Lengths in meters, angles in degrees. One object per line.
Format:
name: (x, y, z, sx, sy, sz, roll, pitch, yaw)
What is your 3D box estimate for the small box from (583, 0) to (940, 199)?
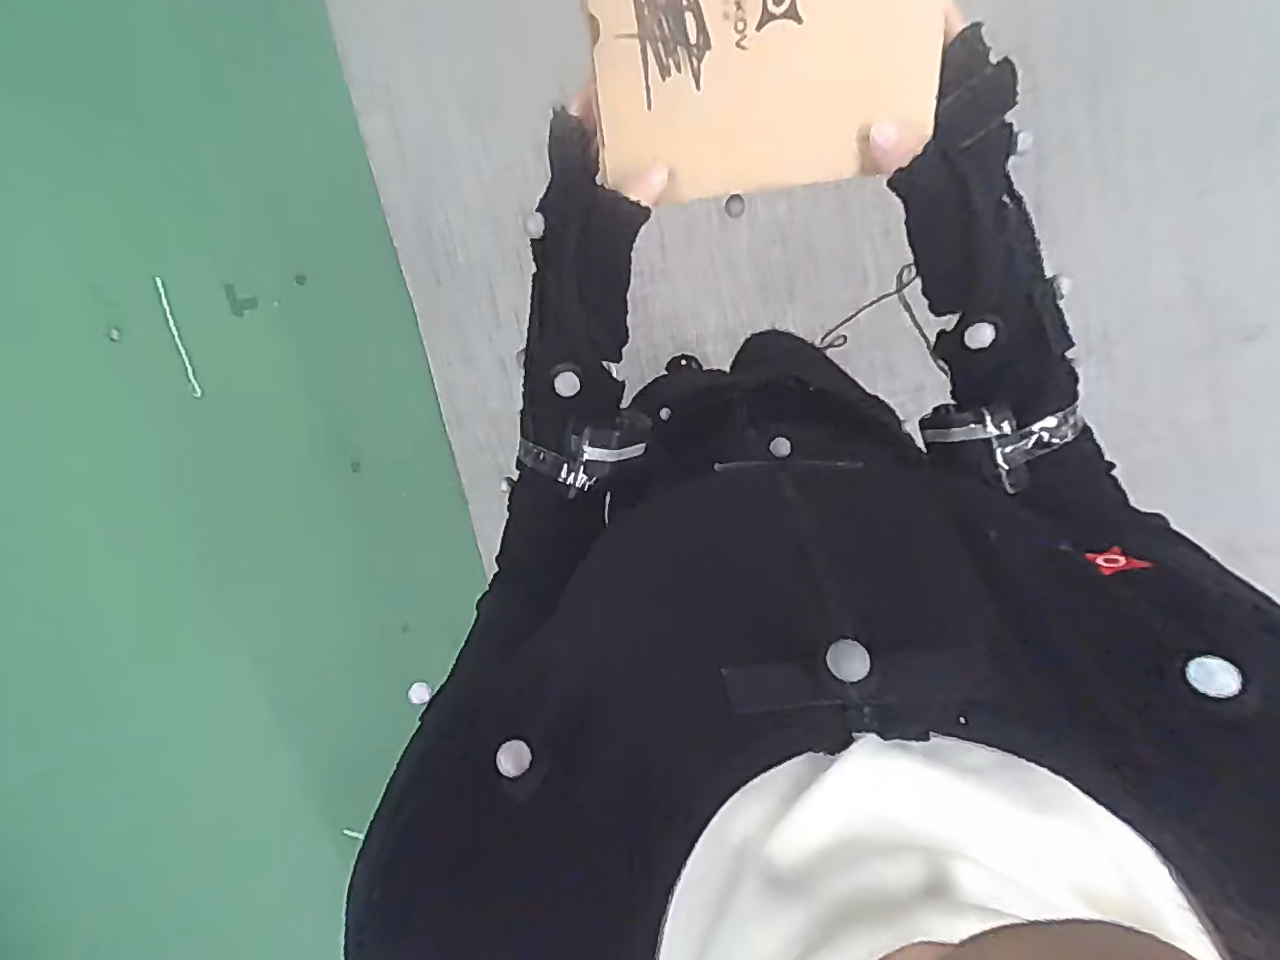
small box: (0.064, -0.276, 0.336, 0.179, 0.176, 0.168, -5, 117, 6)
